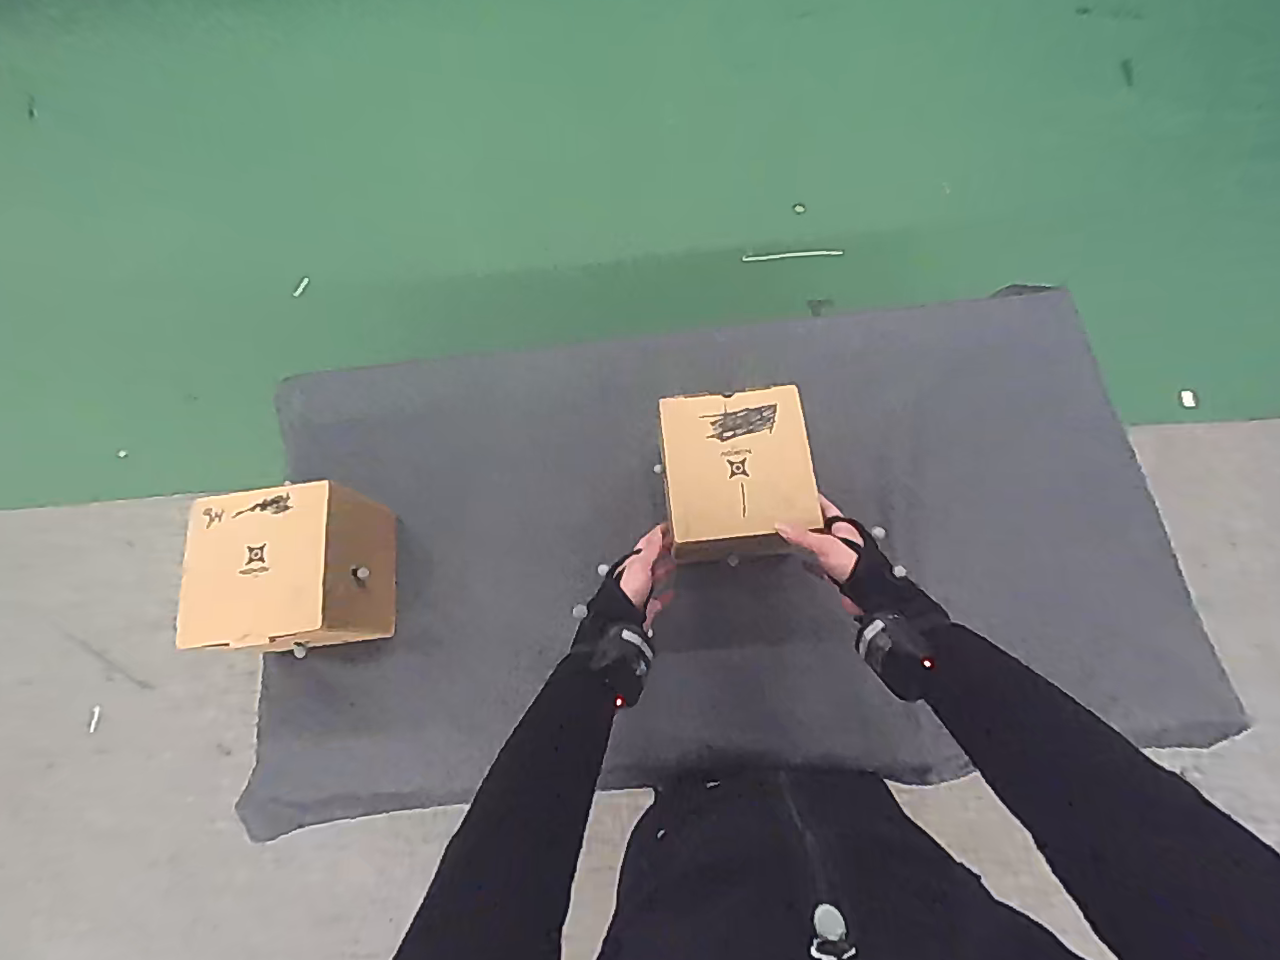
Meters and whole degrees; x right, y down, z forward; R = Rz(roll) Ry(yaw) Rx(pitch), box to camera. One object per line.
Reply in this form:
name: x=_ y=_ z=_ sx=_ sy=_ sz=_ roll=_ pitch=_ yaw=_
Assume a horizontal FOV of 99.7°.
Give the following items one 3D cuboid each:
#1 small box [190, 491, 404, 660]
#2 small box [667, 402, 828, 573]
small box: x=-0.418 y=0.126 z=0.690 sx=0.168 sy=0.176 sz=0.179 roll=-7 pitch=73 yaw=0
small box: x=0.124 y=0.018 z=0.699 sx=0.168 sy=0.176 sz=0.179 roll=-5 pitch=74 yaw=1
